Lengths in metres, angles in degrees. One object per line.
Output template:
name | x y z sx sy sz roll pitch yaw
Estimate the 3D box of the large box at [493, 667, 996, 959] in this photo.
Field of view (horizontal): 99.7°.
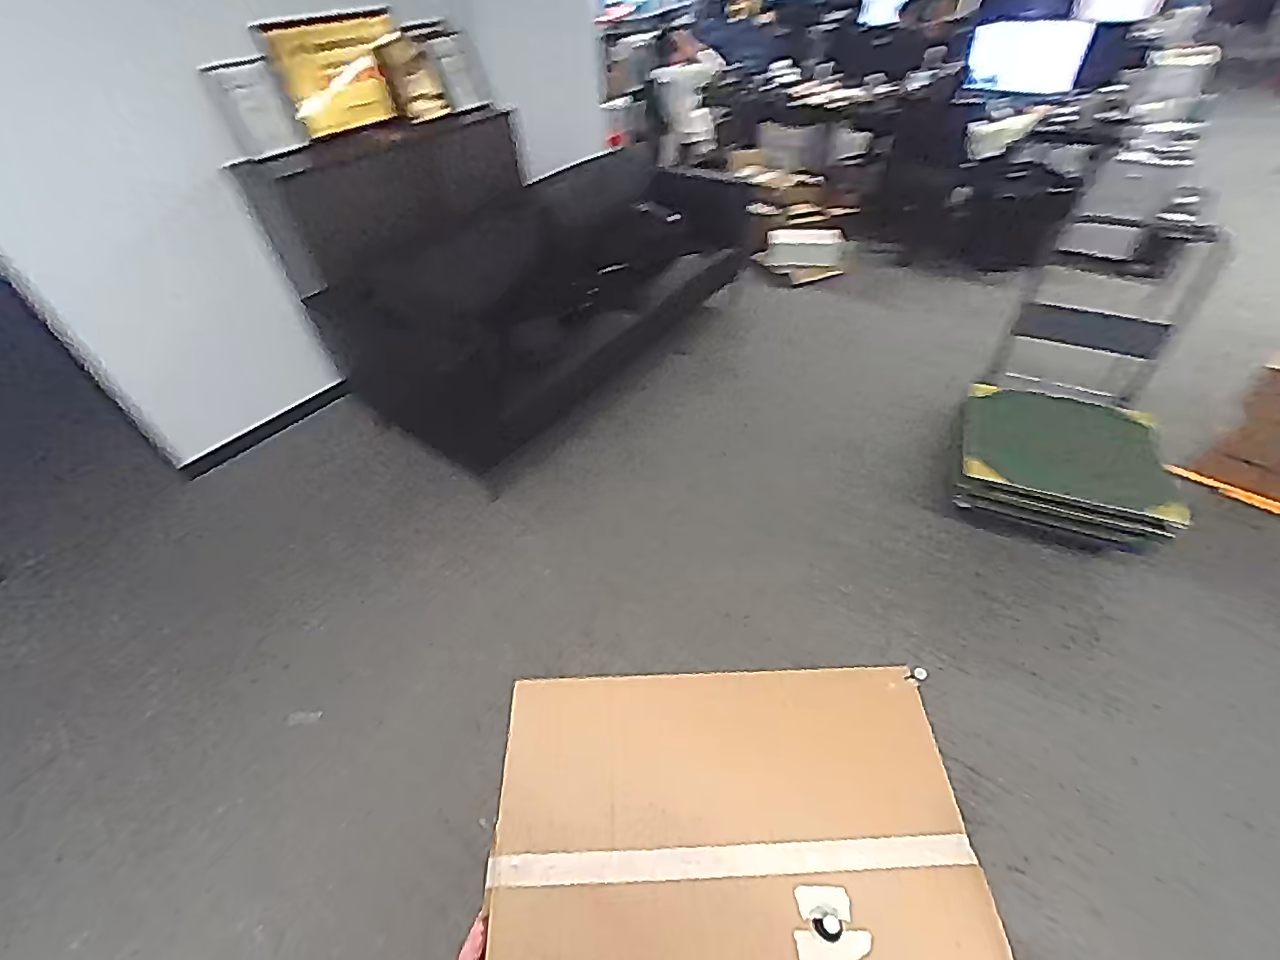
large box | 0.076 0.419 0.580 0.408 0.320 0.320 -2 52 -2
